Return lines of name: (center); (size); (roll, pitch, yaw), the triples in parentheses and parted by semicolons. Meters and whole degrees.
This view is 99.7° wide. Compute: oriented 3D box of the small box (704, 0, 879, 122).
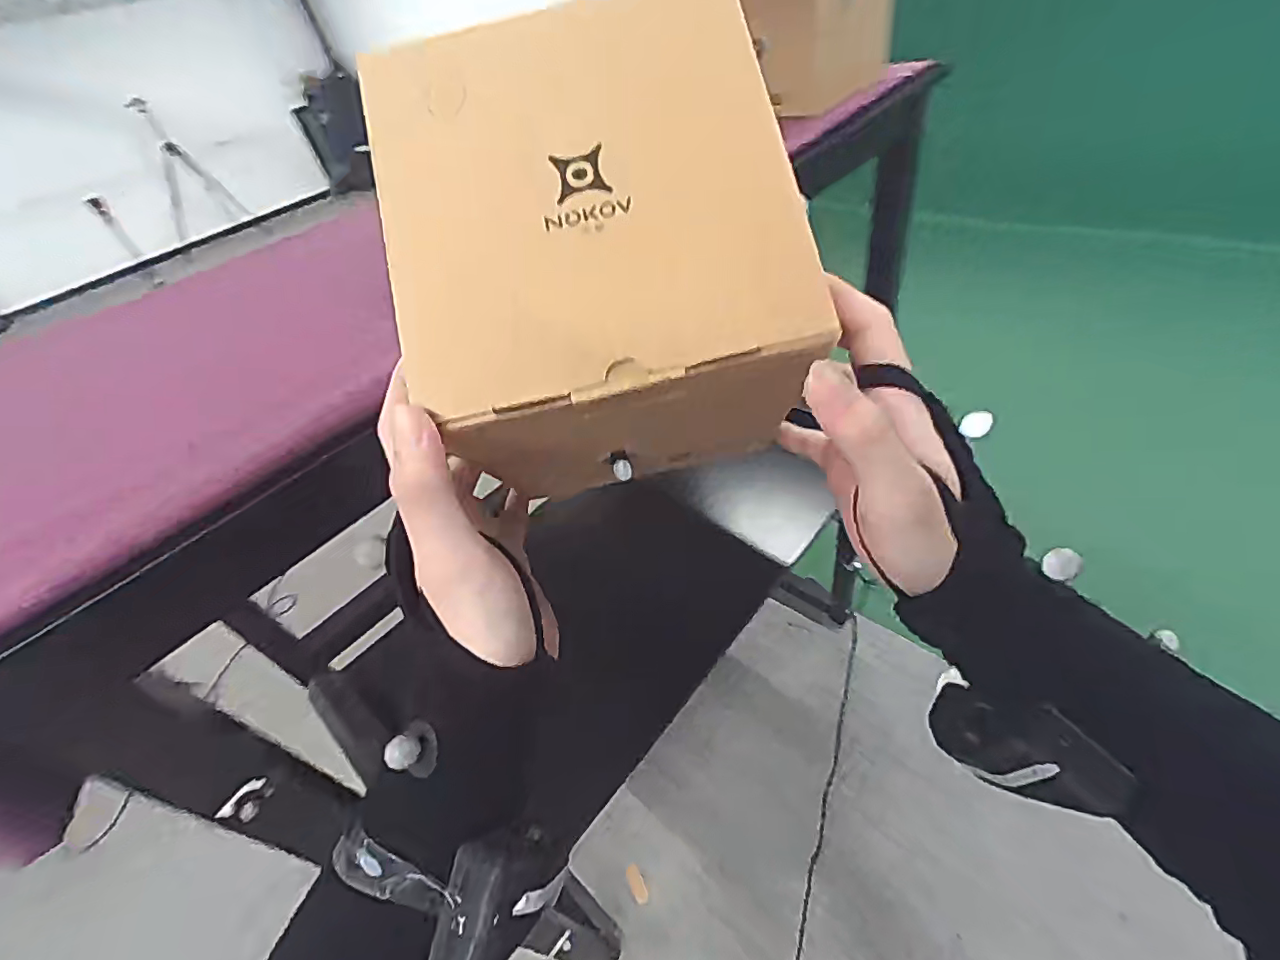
small box: (0.213, -0.611, 0.742); (0.179, 0.176, 0.168); (-39, 48, -23)

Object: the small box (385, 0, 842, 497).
small box: (-0.014, -0.100, 0.302); (0.168, 0.176, 0.179); (-12, 80, 1)
